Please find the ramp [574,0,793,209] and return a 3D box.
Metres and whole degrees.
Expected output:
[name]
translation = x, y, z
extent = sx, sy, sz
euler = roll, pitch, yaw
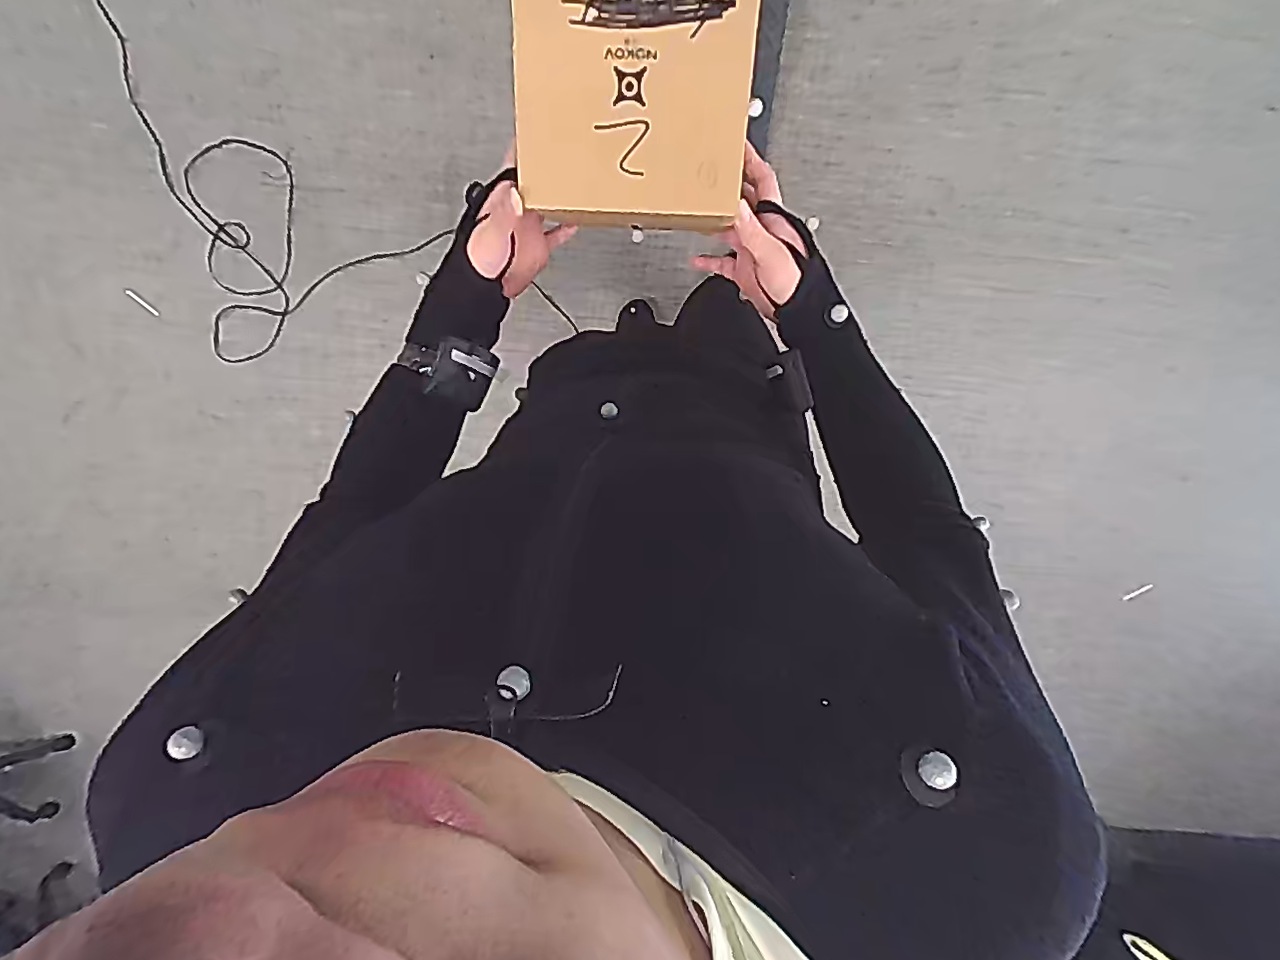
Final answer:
[ramp]
translation = 0.106, -1.158, 1.173
extent = 0.509, 0.206, 0.991
euler = 2, 109, -1
